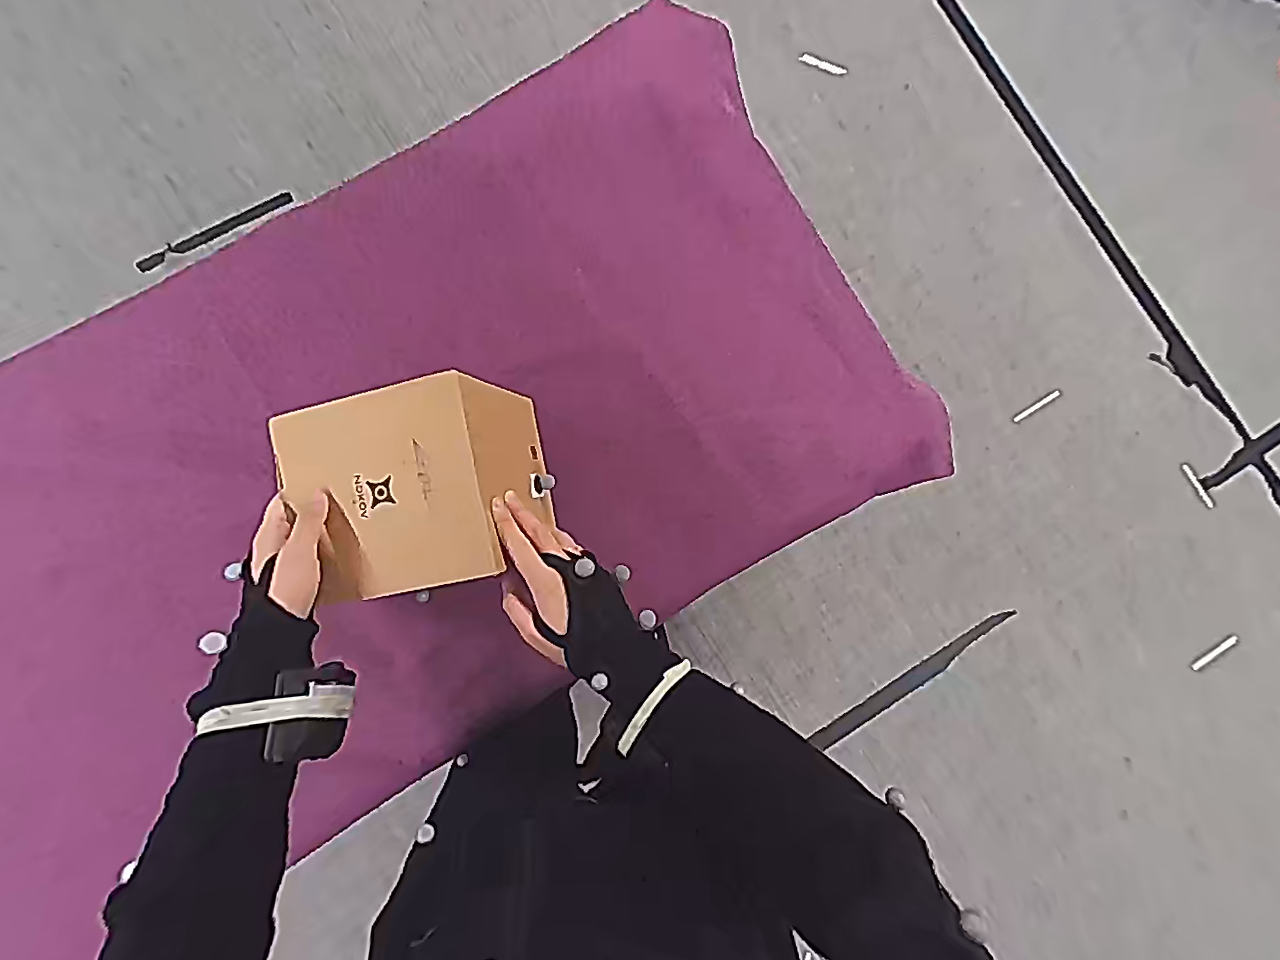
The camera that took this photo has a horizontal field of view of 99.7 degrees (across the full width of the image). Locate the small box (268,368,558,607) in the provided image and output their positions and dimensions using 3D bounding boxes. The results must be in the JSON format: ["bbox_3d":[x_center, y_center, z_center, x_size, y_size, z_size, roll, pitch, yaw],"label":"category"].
[{"bbox_3d":[-0.198,0.009,0.514,0.179,0.176,0.168,-13,88,9],"label":"small box"}]
